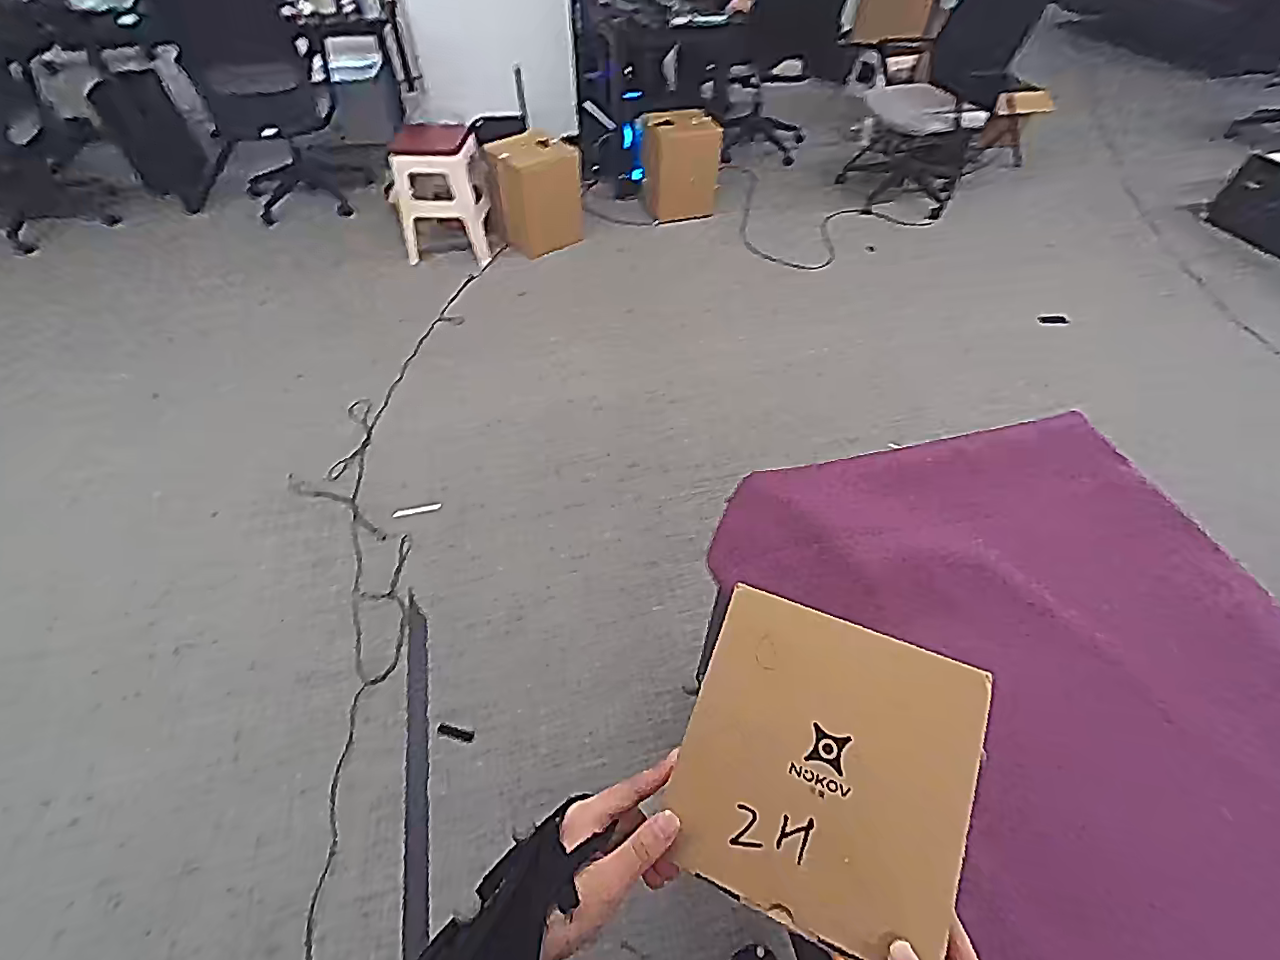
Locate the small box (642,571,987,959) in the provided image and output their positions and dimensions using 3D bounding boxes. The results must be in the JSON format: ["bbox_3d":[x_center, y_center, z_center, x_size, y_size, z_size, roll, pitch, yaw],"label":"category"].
[{"bbox_3d":[0.116,0.191,0.394,0.168,0.176,0.179,18,72,16],"label":"small box"}]
